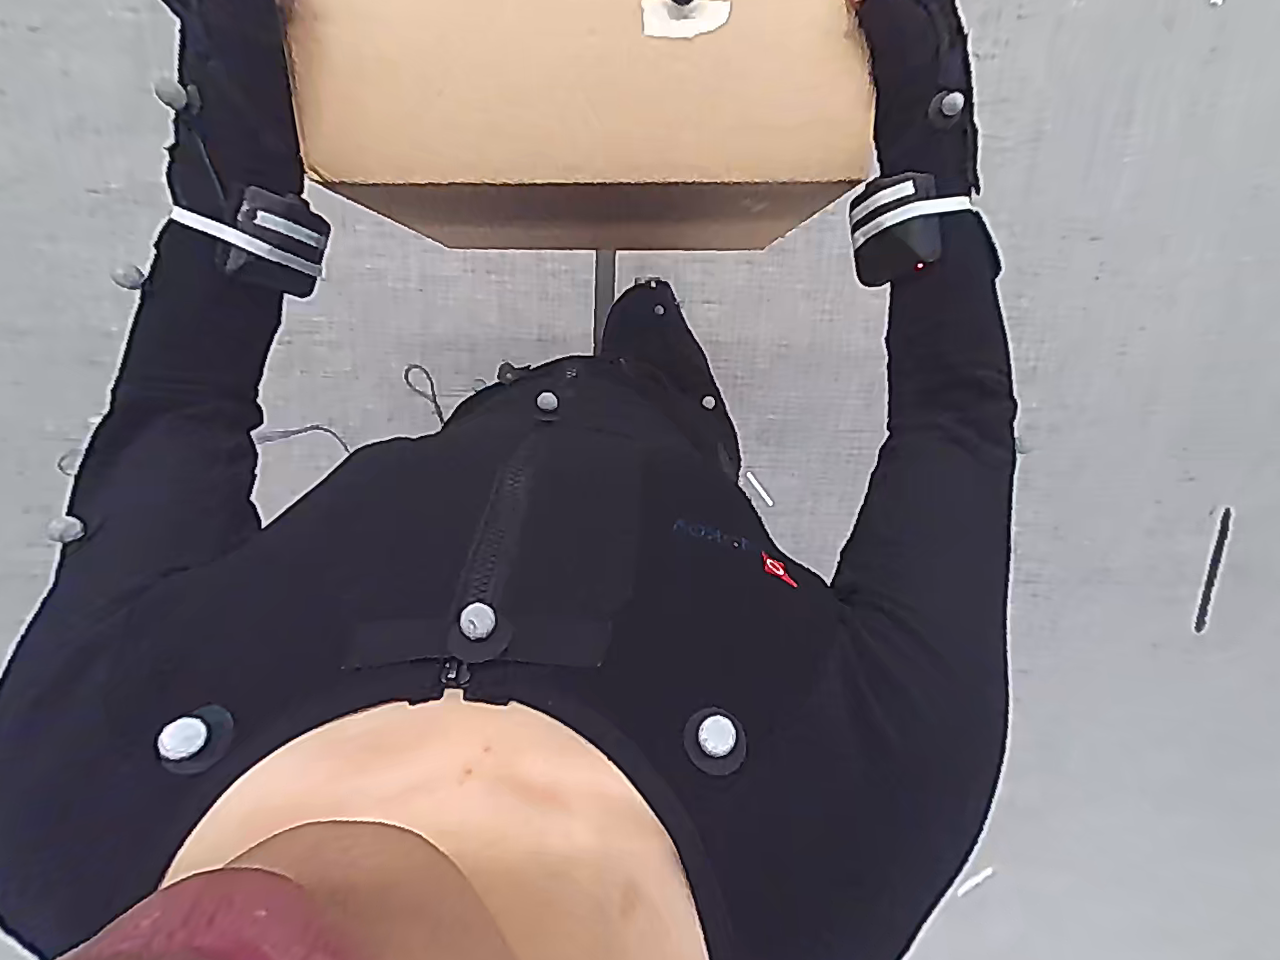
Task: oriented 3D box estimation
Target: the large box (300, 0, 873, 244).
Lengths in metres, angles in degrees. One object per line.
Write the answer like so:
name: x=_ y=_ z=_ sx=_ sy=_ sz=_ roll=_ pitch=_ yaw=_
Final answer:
large box: x=-0.040 y=-0.416 z=0.505 sx=0.408 sy=0.320 sz=0.320 roll=-1 pitch=105 yaw=-1
